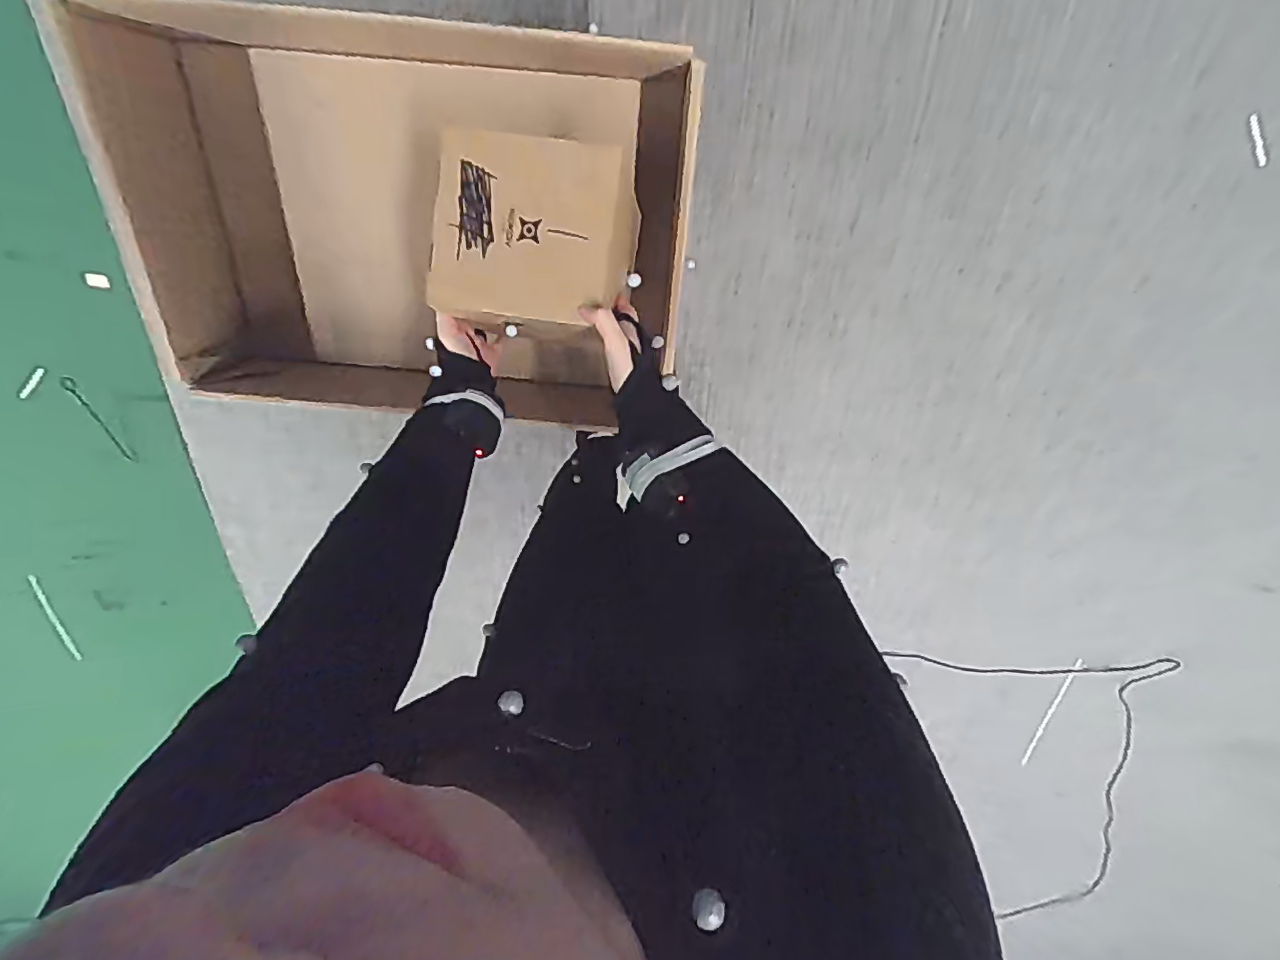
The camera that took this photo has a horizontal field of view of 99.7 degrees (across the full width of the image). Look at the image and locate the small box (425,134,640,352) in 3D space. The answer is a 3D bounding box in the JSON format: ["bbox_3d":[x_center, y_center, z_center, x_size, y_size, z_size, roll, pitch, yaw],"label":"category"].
[{"bbox_3d":[-0.104,-0.242,0.593,0.179,0.176,0.168,10,96,5],"label":"small box"}]
